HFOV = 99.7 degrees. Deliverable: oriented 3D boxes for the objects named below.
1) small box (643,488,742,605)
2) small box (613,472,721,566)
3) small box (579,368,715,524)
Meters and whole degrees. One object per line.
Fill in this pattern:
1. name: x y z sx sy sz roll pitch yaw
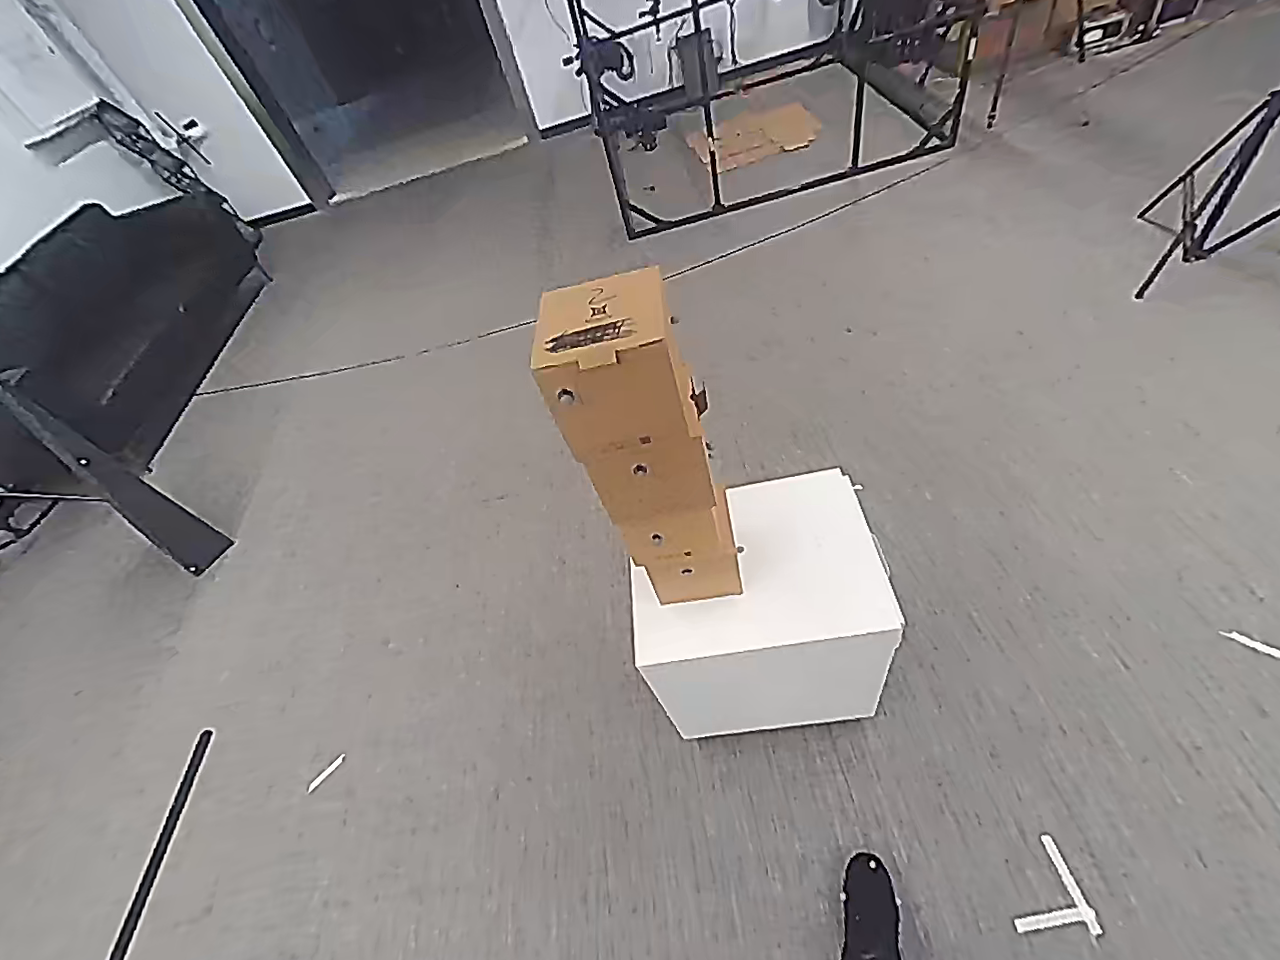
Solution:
1. small box: 0.106 0.142 1.111 0.179 0.176 0.168 -9 50 8
2. small box: 0.052 0.044 0.992 0.168 0.176 0.179 -9 49 10
3. small box: 0.014 -0.047 0.860 0.179 0.176 0.168 -11 50 8
